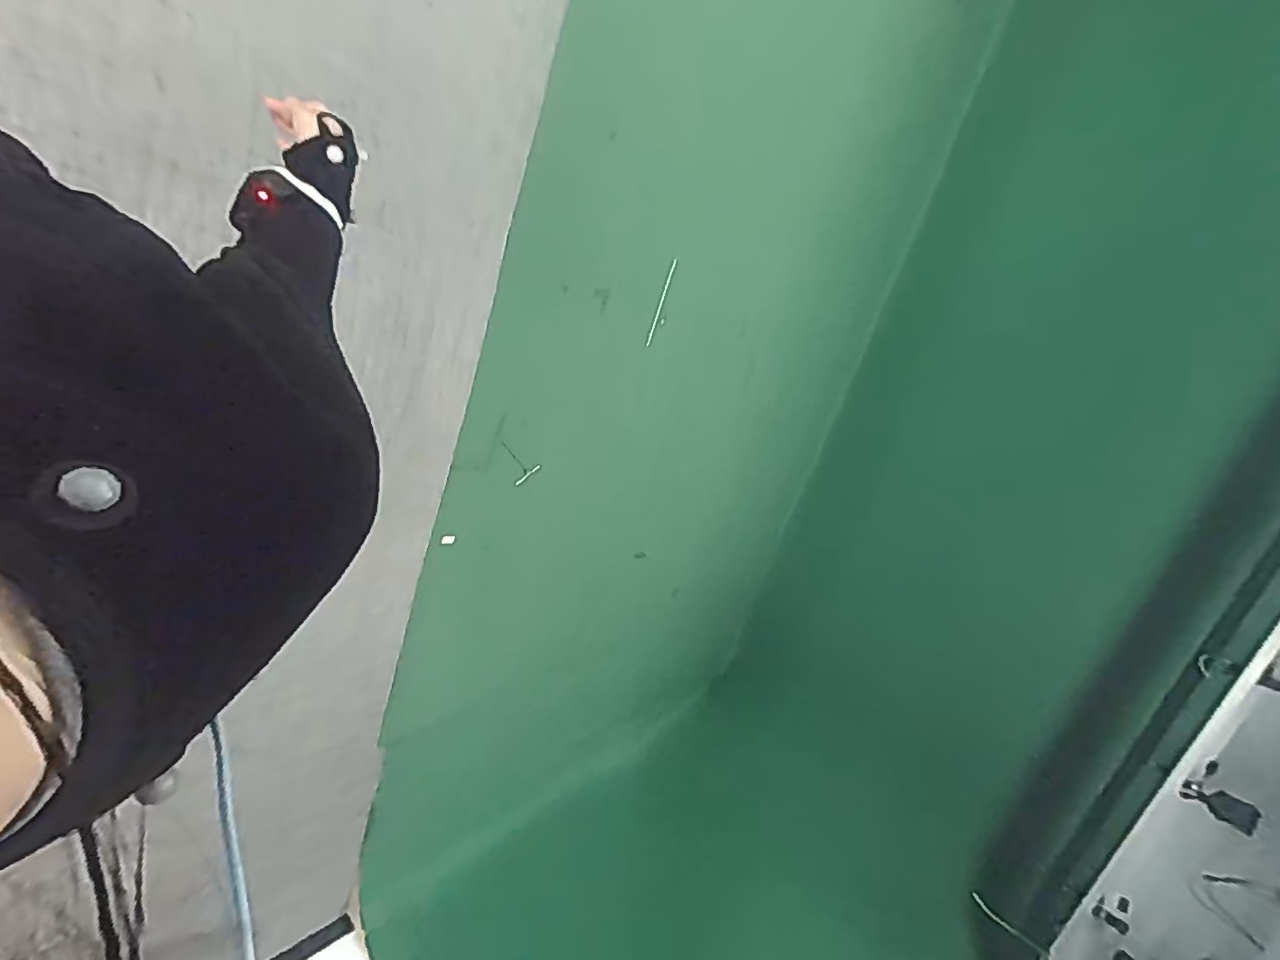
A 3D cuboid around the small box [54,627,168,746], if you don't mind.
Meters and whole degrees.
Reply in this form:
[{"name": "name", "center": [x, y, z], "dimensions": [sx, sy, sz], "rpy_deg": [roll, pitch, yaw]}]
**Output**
[{"name": "small box", "center": [-1.239, 0.472, 1.265], "dimensions": [0.179, 0.176, 0.168], "rpy_deg": [-5, 117, -51]}]
